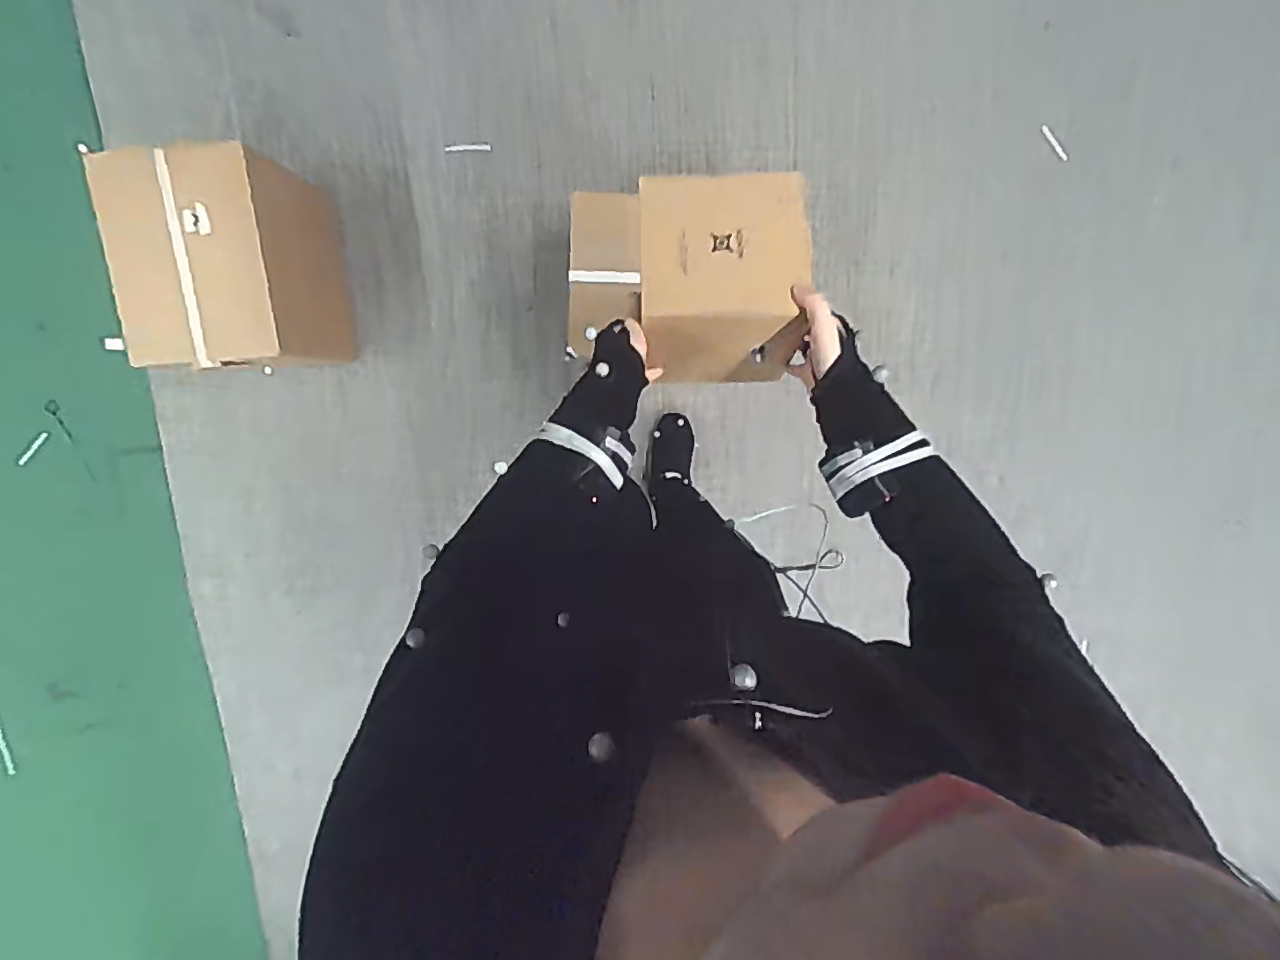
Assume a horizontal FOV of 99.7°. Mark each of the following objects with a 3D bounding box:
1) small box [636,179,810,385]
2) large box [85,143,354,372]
[{"bbox_3d":[0.084,-0.219,0.634,0.179,0.176,0.168,-1,76,1],"label":"small box"},{"bbox_3d":[-0.894,-0.459,1.208,0.320,0.320,0.408,-3,99,1],"label":"large box"}]
